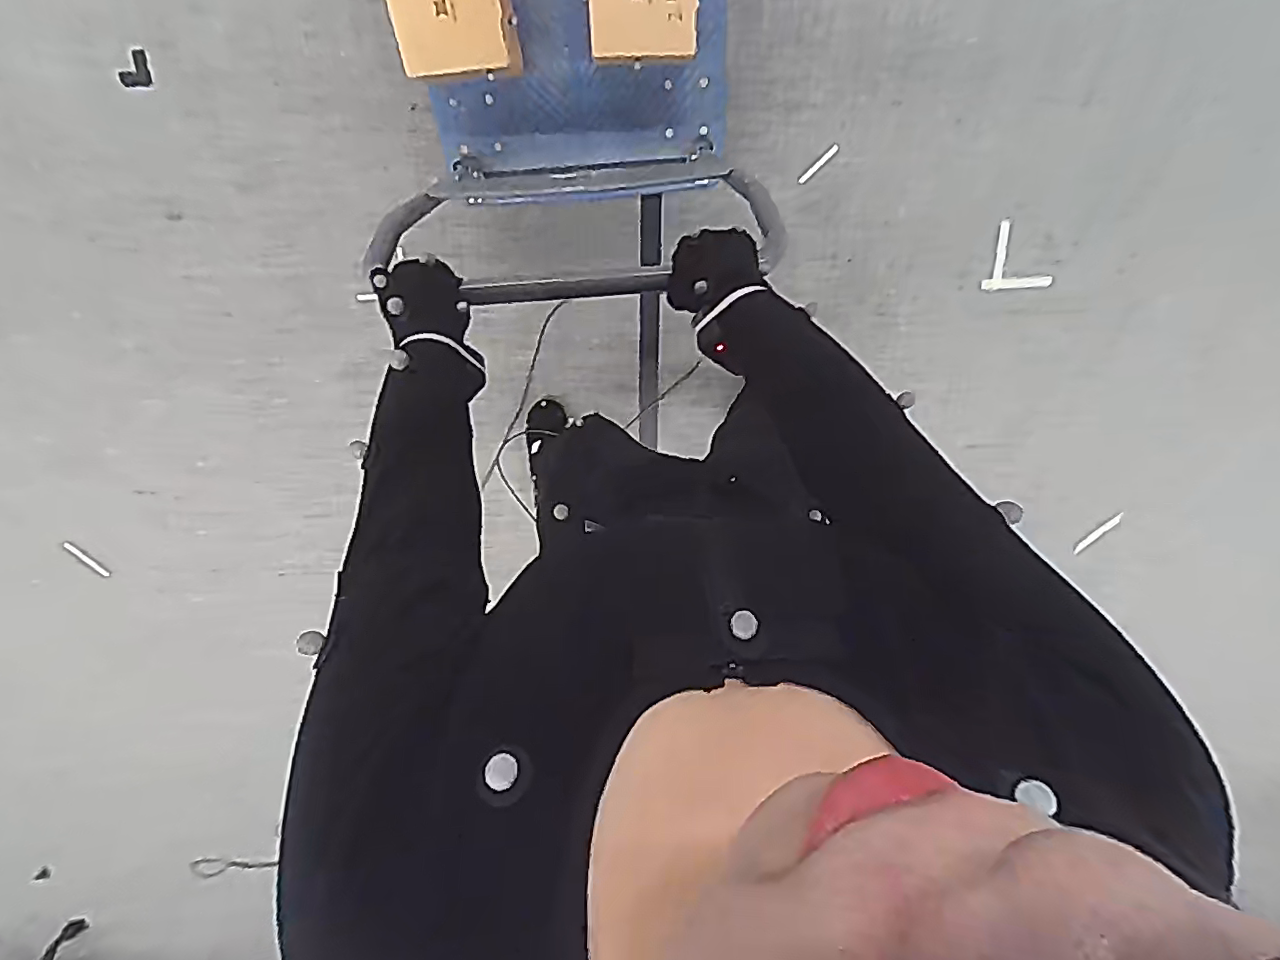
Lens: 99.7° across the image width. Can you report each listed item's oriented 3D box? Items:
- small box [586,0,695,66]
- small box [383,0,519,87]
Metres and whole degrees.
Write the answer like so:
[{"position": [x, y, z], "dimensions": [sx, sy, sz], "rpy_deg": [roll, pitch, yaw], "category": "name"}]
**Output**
[{"position": [-0.002, -0.814, 0.917], "dimensions": [0.179, 0.176, 0.168], "rpy_deg": [-3, 123, -1], "category": "small box"}, {"position": [-0.317, -0.785, 0.919], "dimensions": [0.179, 0.176, 0.168], "rpy_deg": [-8, 123, 0], "category": "small box"}]
